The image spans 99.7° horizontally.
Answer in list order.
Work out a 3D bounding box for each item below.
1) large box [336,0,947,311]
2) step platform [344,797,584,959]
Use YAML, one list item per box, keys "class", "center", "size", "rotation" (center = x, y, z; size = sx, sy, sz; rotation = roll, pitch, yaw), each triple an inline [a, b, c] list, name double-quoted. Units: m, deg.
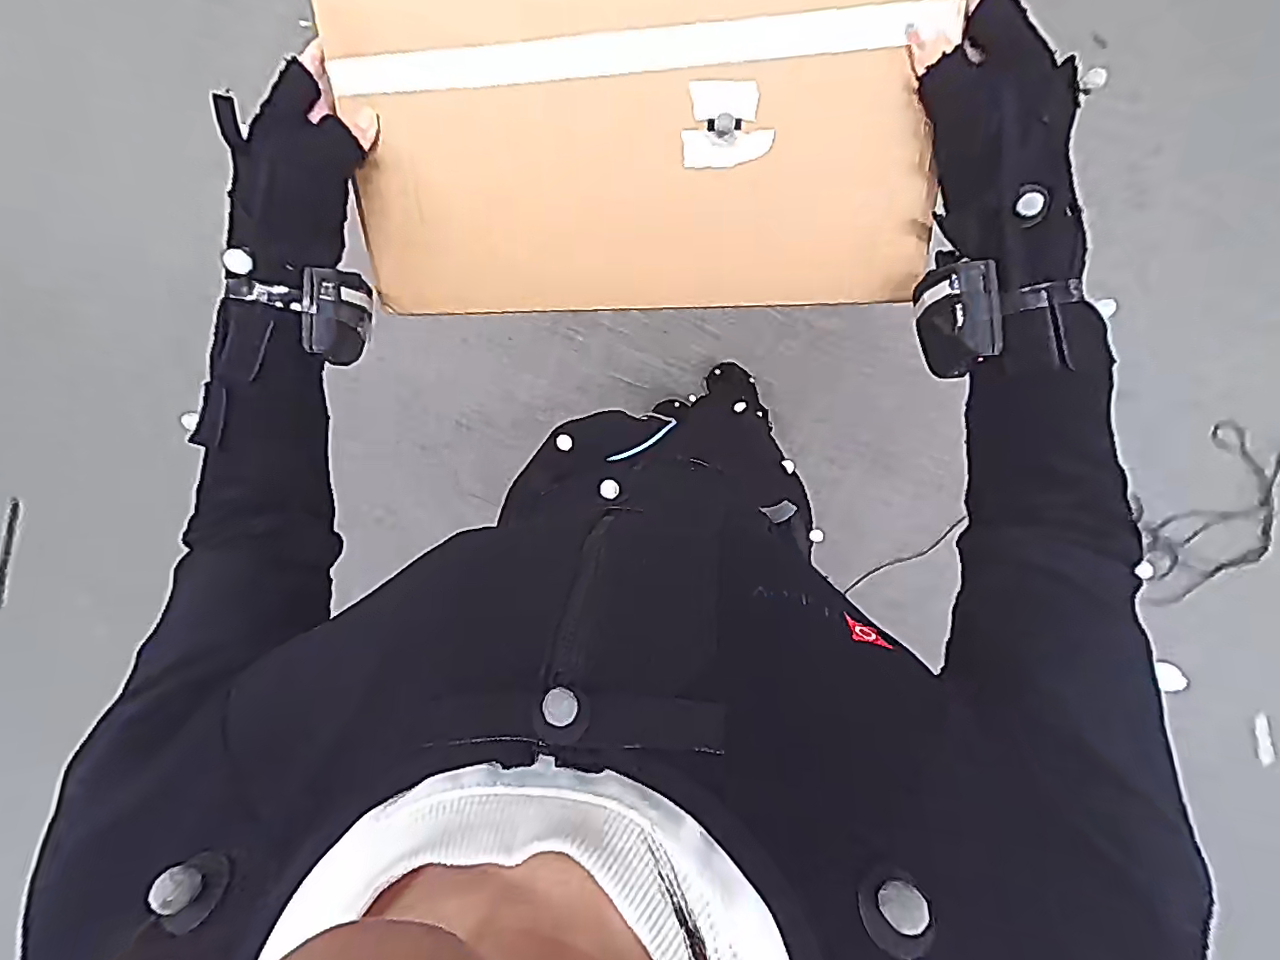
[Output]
- class: "large box"
  center: [0.008, -0.340, 0.494]
  size: [0.408, 0.320, 0.320]
  rotation: [0, 113, 8]
- class: "step platform"
  center: [-0.526, 1.263, 1.622]
  size: [0.684, 0.204, 0.286]
  rotation: [24, 101, 5]
